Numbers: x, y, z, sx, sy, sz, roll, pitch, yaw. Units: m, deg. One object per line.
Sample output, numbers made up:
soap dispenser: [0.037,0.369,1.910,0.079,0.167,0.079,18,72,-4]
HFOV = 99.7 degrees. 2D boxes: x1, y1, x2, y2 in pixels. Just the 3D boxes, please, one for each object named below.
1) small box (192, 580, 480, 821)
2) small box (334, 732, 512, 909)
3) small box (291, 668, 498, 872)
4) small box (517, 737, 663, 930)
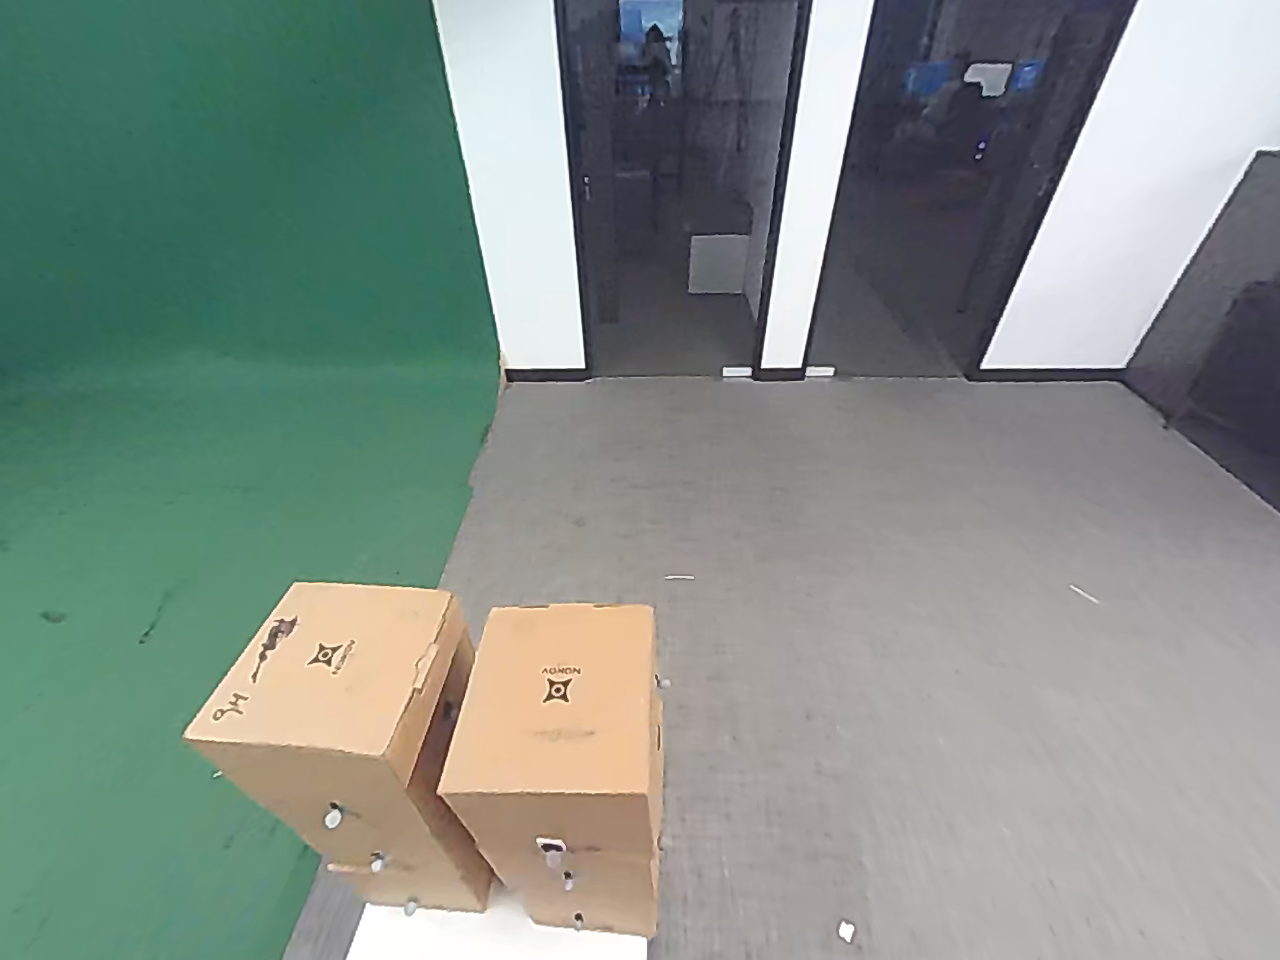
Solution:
small box: [-0.279,0.225,0.553,0.179,0.176,0.168,4,40,3]
small box: [-0.287,0.474,0.767,0.168,0.176,0.179,2,41,3]
small box: [-0.283,0.346,0.665,0.168,0.176,0.179,3,40,4]
small box: [-0.057,0.486,0.749,0.168,0.176,0.179,2,40,5]
